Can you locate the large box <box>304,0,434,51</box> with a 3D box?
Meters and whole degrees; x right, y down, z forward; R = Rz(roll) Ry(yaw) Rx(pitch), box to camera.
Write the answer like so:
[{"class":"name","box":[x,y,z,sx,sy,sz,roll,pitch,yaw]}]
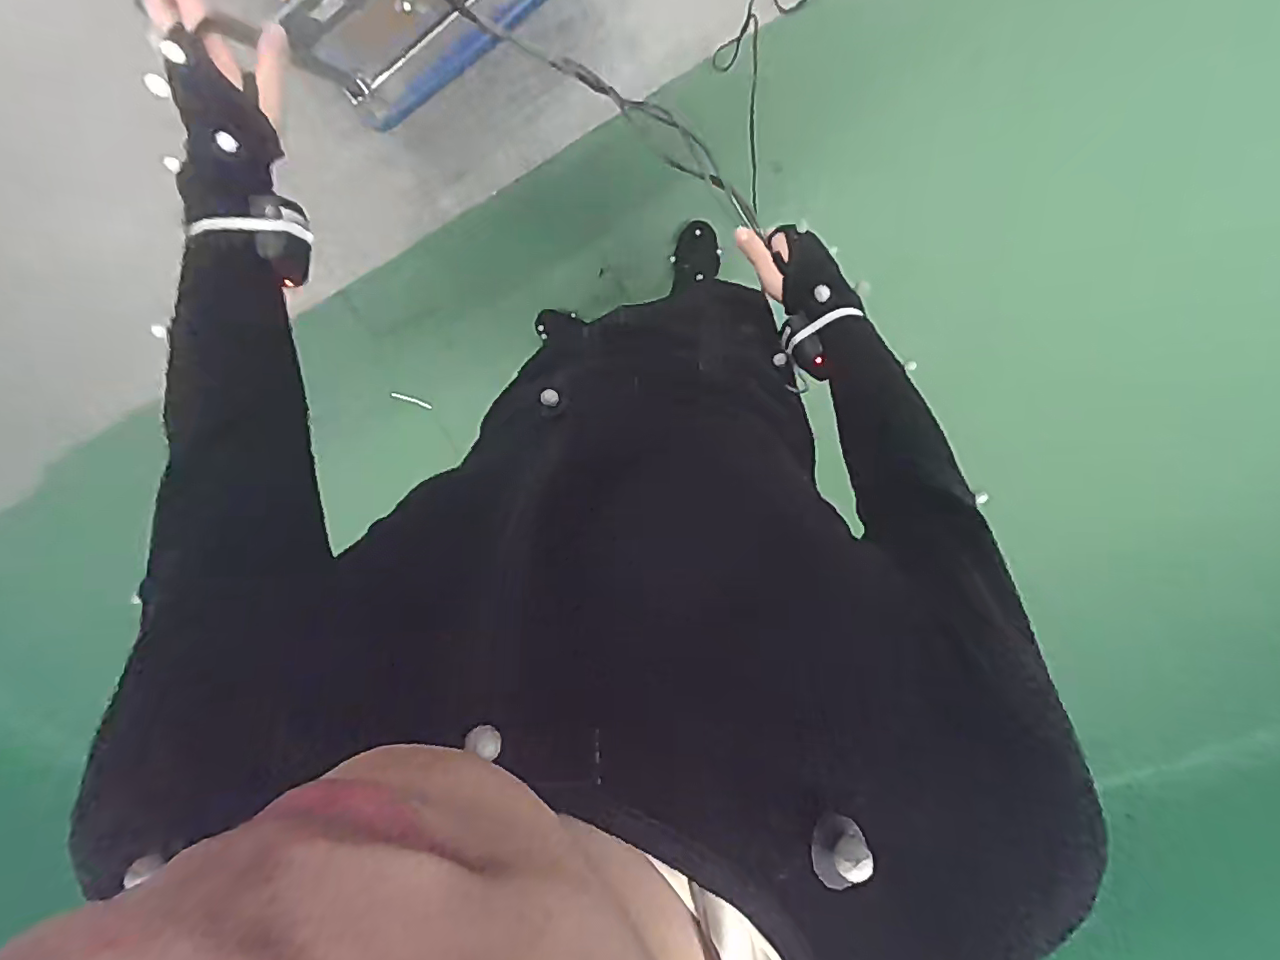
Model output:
[{"class":"large box","box":[-0.515,-1.041,0.877,0.320,0.320,0.408,-29,111,12]}]
